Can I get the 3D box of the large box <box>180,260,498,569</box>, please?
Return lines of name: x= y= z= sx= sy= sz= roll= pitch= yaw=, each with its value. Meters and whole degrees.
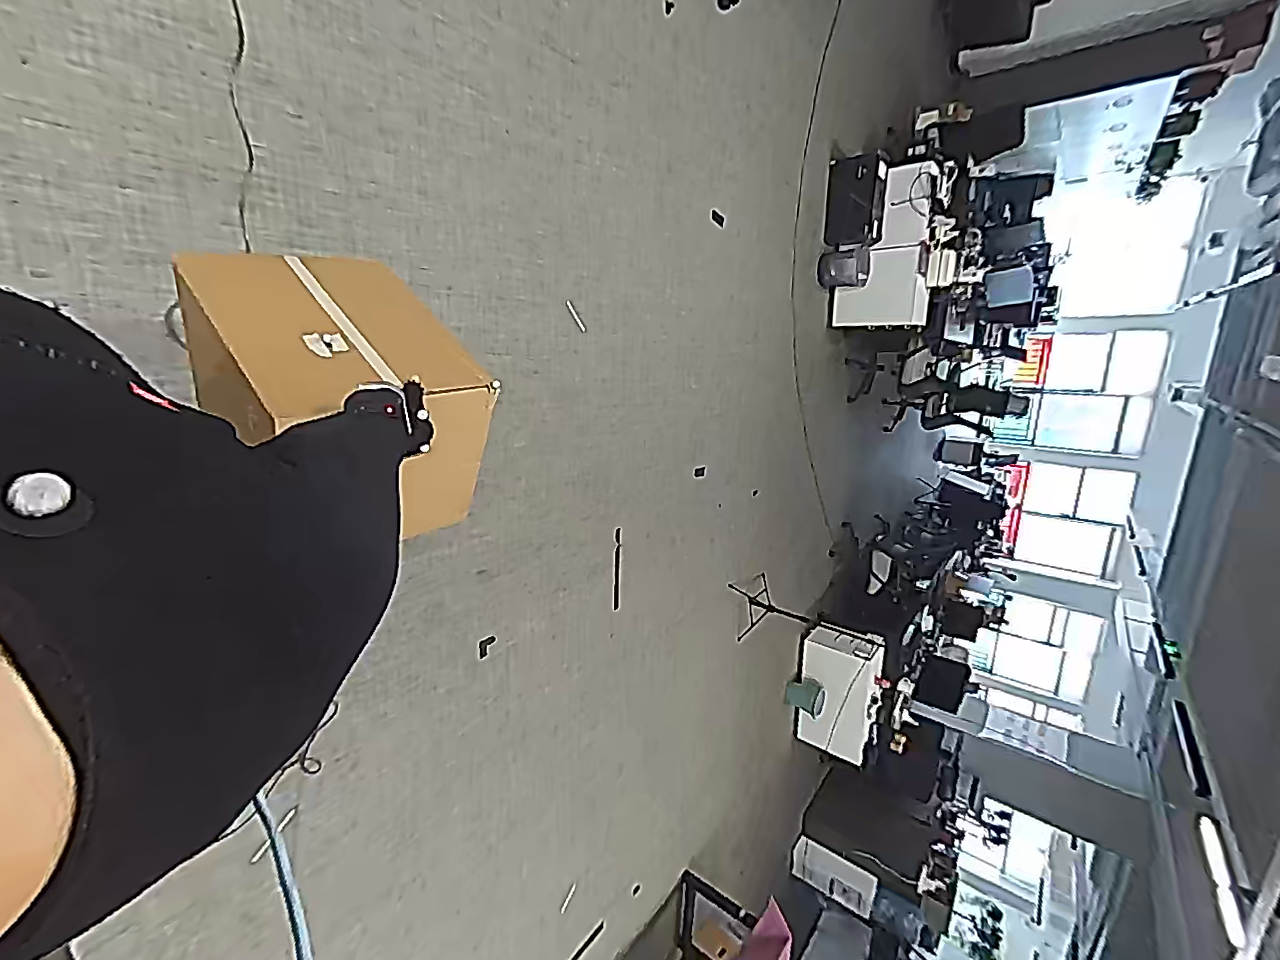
large box: x=-0.515 y=-0.128 z=0.929 sx=0.320 sy=0.408 sz=0.320 roll=-21 pitch=149 yaw=-44
